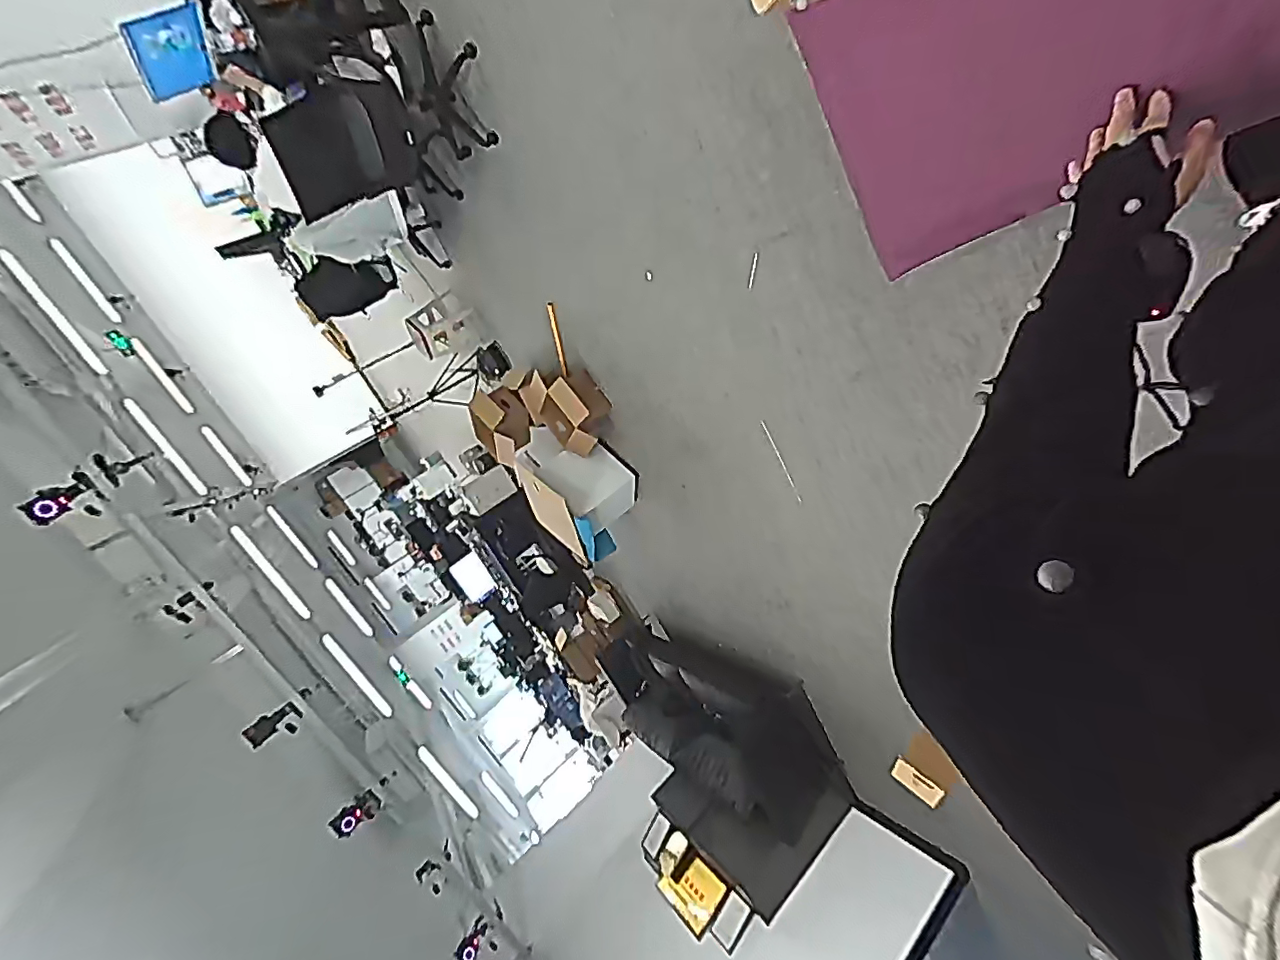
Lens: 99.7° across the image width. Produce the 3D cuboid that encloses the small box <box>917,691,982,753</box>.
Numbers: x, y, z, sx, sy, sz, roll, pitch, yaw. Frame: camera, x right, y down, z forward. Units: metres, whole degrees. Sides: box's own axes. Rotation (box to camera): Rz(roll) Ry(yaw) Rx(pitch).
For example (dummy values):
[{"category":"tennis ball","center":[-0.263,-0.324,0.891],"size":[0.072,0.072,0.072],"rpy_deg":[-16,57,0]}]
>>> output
[{"category":"small box","center":[1.187,0.961,2.094],"size":[0.168,0.176,0.179],"rpy_deg":[32,147,37]}]

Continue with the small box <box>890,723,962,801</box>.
[{"category":"small box","center":[1.070,1.046,2.018],"size":[0.168,0.176,0.179],"rpy_deg":[33,148,36]}]
